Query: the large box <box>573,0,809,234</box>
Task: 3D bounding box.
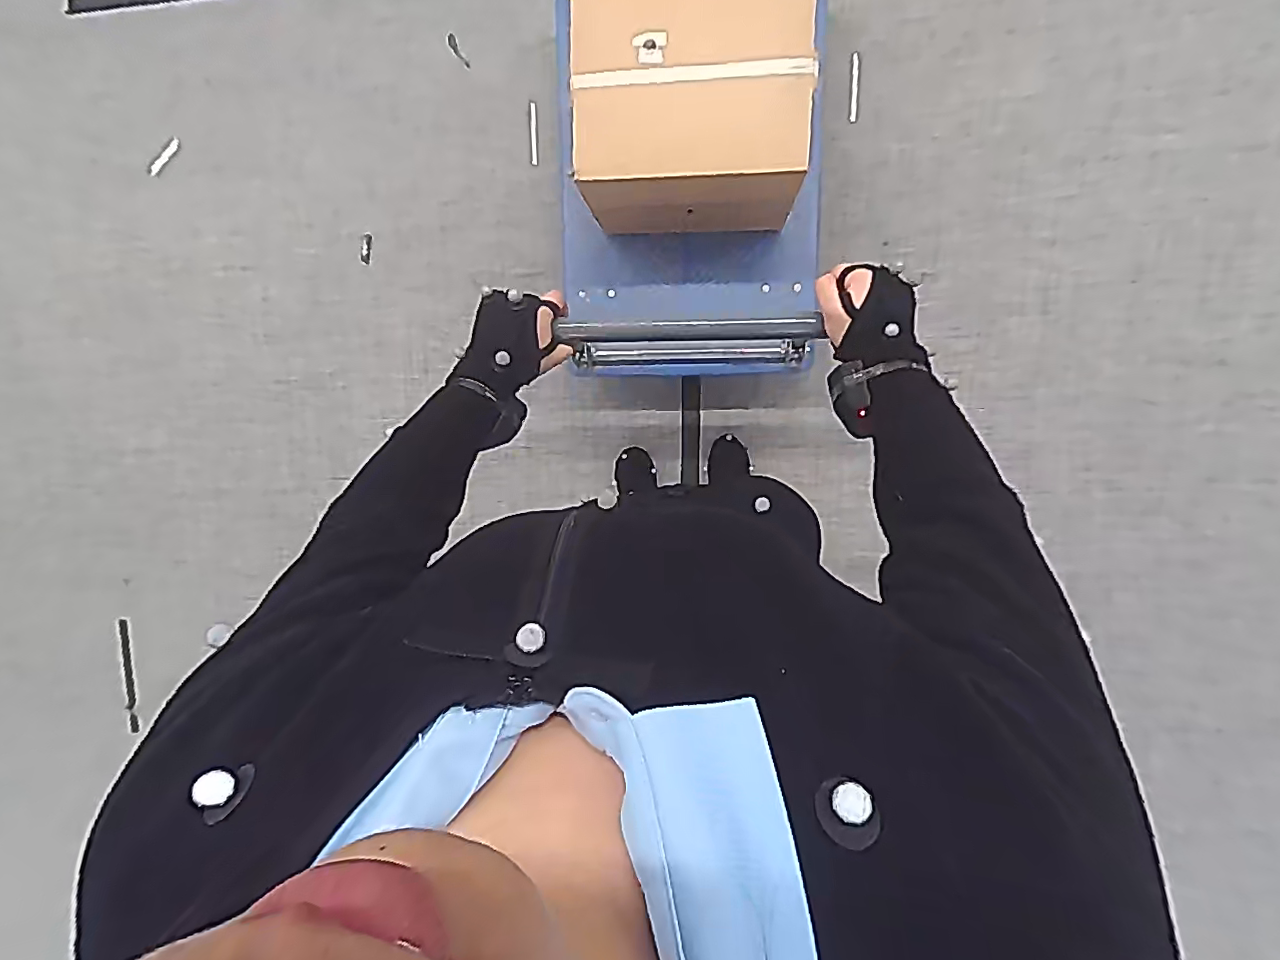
[{"bbox_3d":[0.104,-0.701,1.073,0.408,0.320,0.320,1,97,8],"label":"large box"}]
